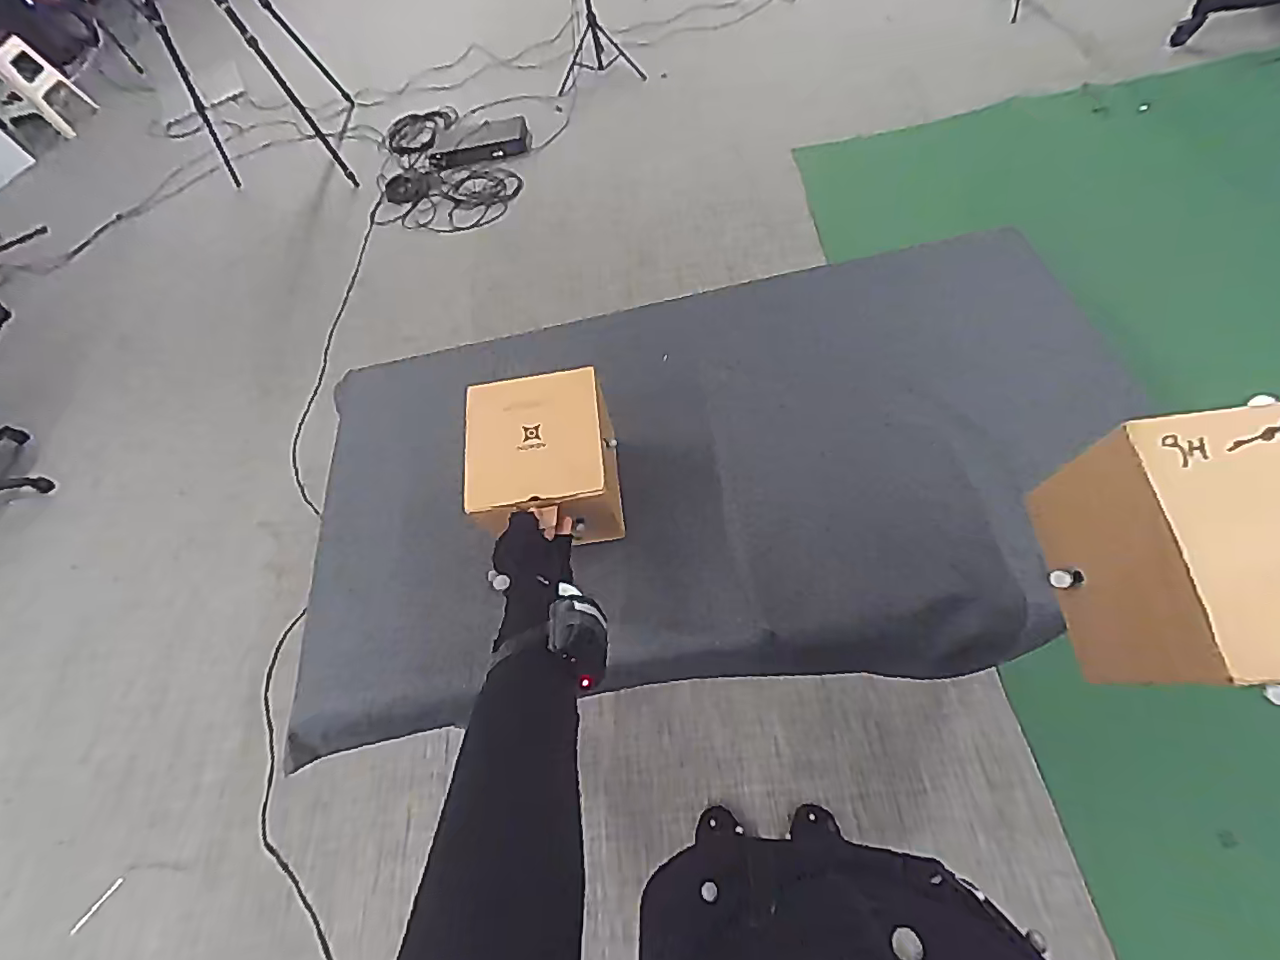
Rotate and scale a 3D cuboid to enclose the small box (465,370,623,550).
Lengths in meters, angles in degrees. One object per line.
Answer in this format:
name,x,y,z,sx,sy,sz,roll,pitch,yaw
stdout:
small box,-0.119,-0.015,0.717,0.168,0.176,0.179,-9,64,1
